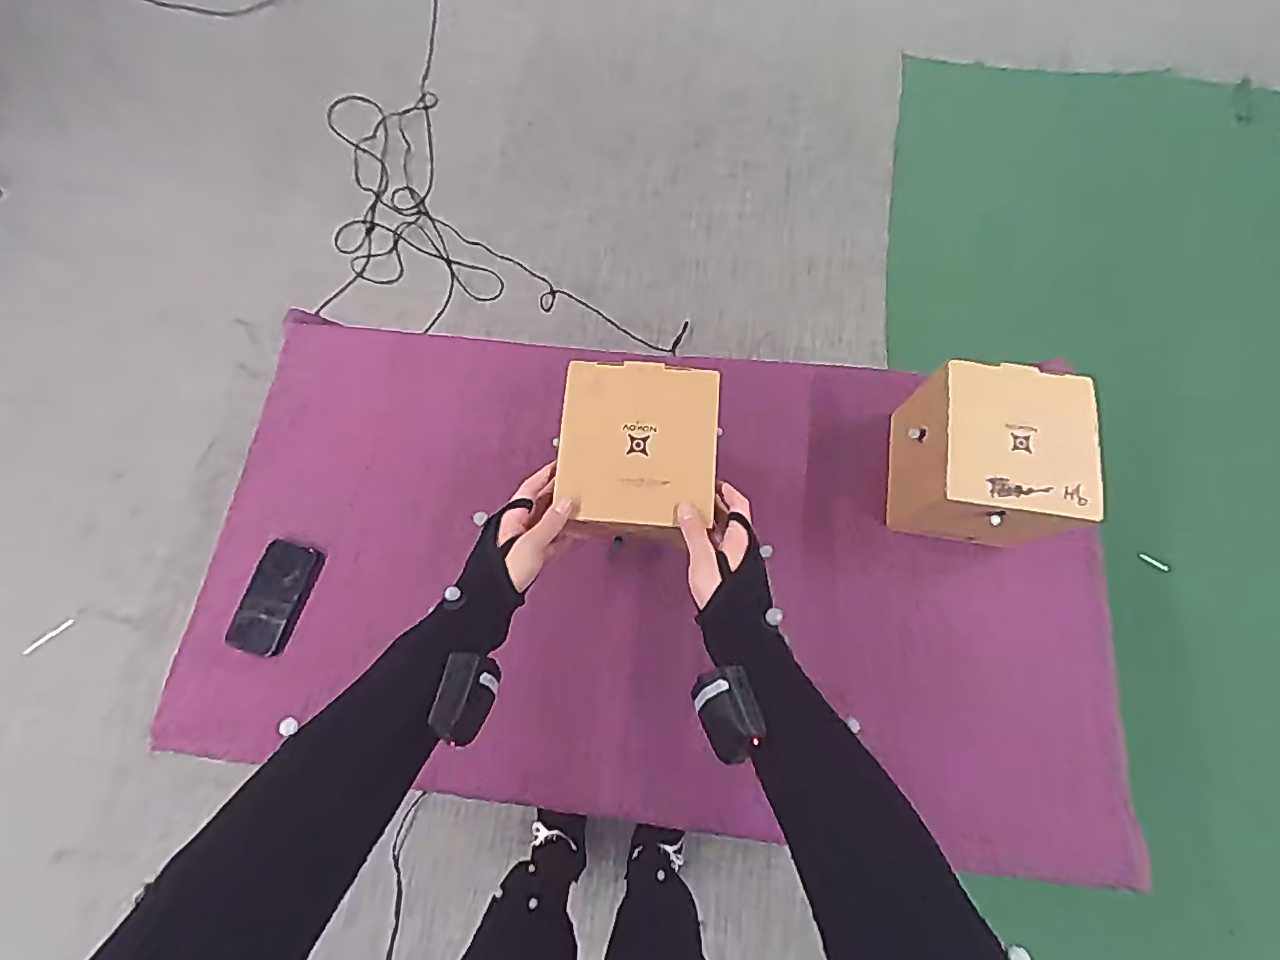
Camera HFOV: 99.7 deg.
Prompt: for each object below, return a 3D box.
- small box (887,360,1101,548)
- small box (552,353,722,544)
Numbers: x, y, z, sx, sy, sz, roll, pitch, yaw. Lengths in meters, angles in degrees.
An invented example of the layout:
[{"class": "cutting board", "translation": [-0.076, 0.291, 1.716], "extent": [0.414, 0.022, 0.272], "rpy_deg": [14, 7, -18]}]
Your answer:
[{"class": "small box", "translation": [0.428, -0.025, 0.683], "extent": [0.168, 0.176, 0.179], "rpy_deg": [9, 73, 5]}, {"class": "small box", "translation": [-0.002, -0.027, 0.641], "extent": [0.168, 0.176, 0.179], "rpy_deg": [5, 76, 1]}]
